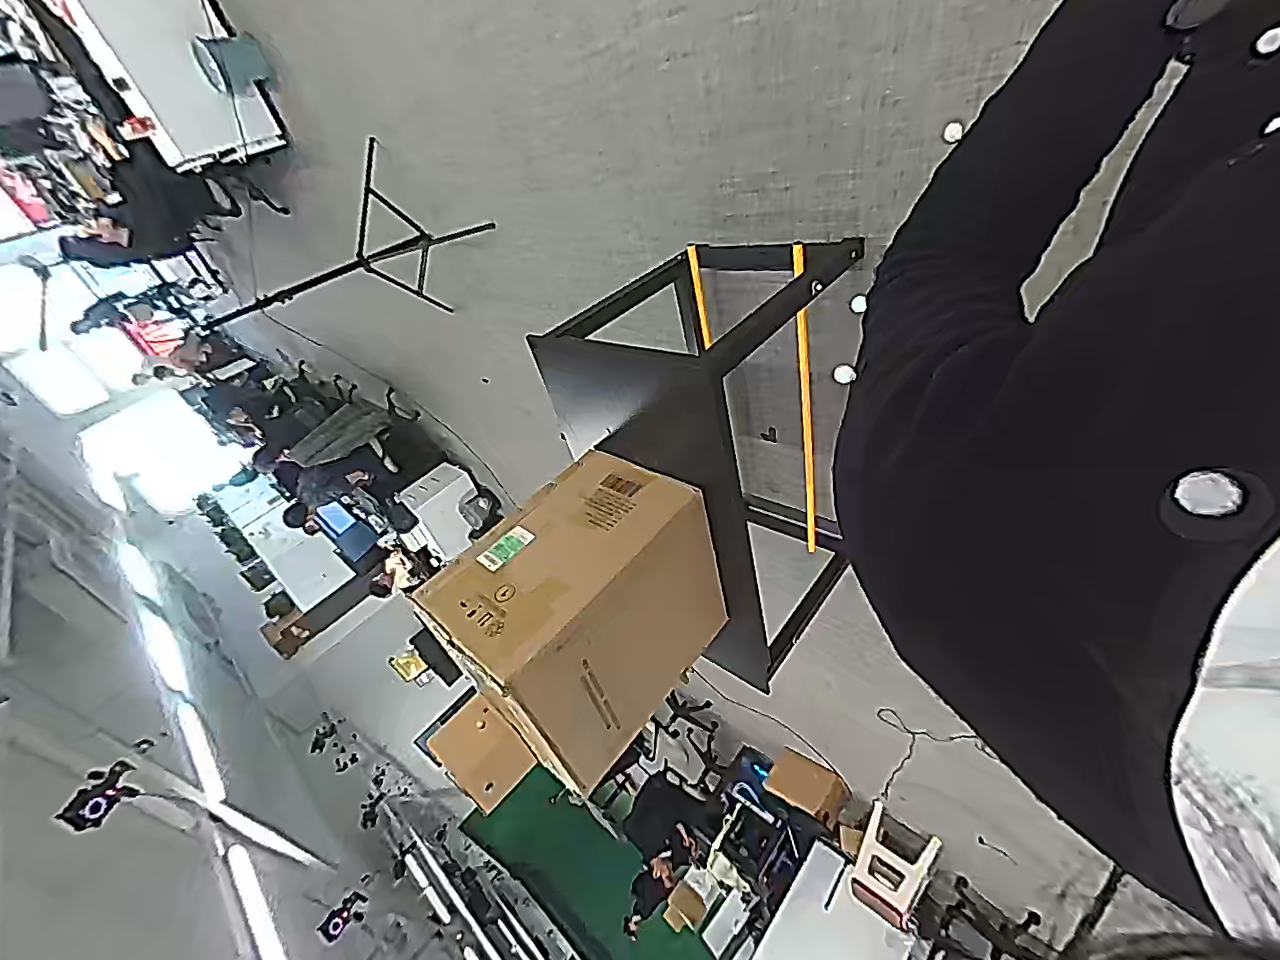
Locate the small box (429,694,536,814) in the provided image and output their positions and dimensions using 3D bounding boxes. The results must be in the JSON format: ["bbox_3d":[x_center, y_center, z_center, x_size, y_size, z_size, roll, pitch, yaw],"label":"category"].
[{"bbox_3d":[-0.389,0.684,1.365,0.168,0.176,0.179,22,140,40],"label":"small box"}]
